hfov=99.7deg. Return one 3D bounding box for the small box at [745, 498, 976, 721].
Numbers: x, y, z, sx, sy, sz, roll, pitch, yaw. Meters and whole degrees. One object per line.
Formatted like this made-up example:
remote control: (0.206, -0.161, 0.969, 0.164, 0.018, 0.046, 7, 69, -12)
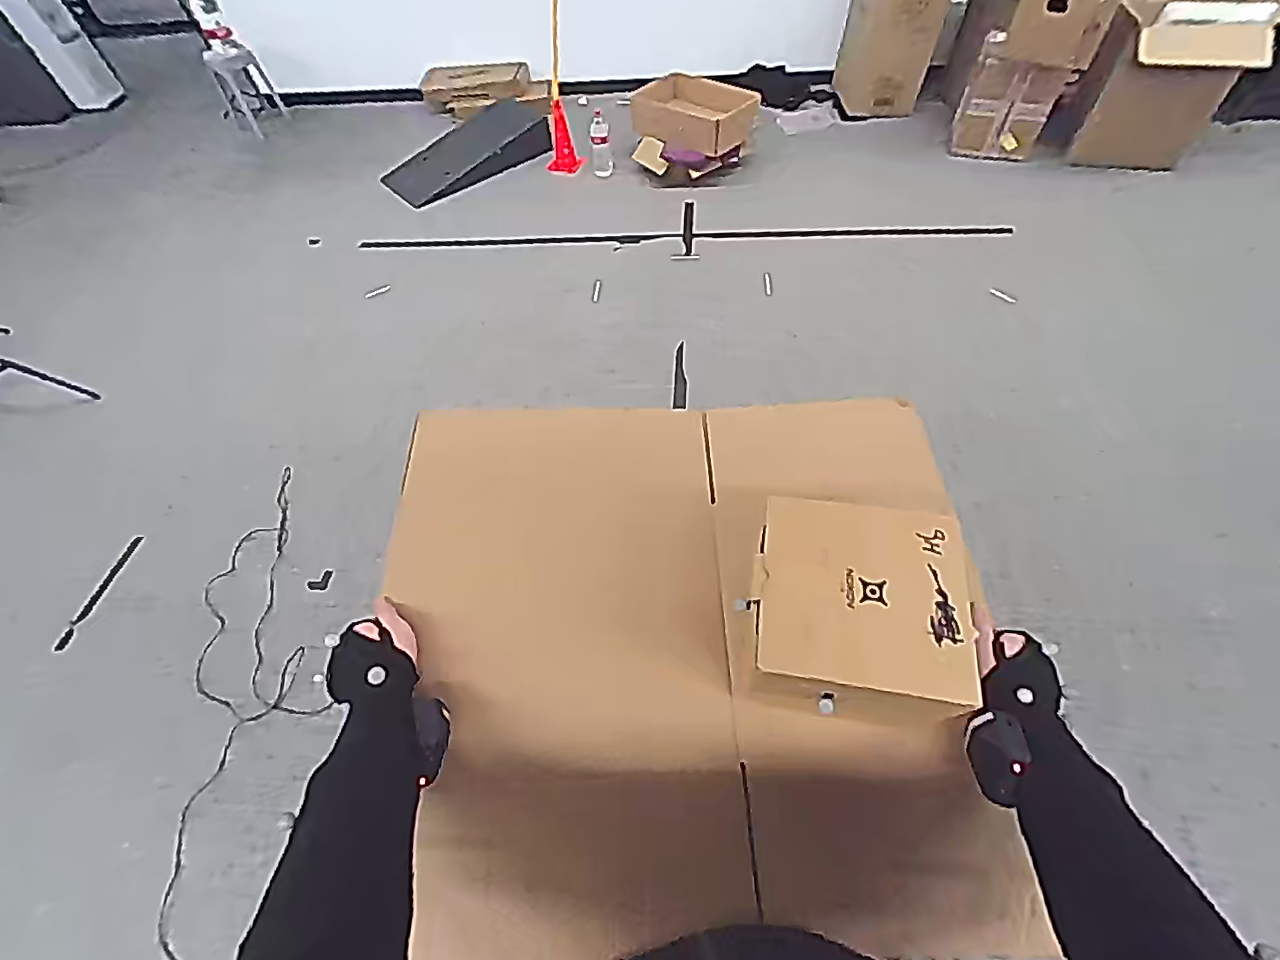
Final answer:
small box: (0.202, 0.136, 0.546, 0.179, 0.176, 0.168, 6, 60, 10)
